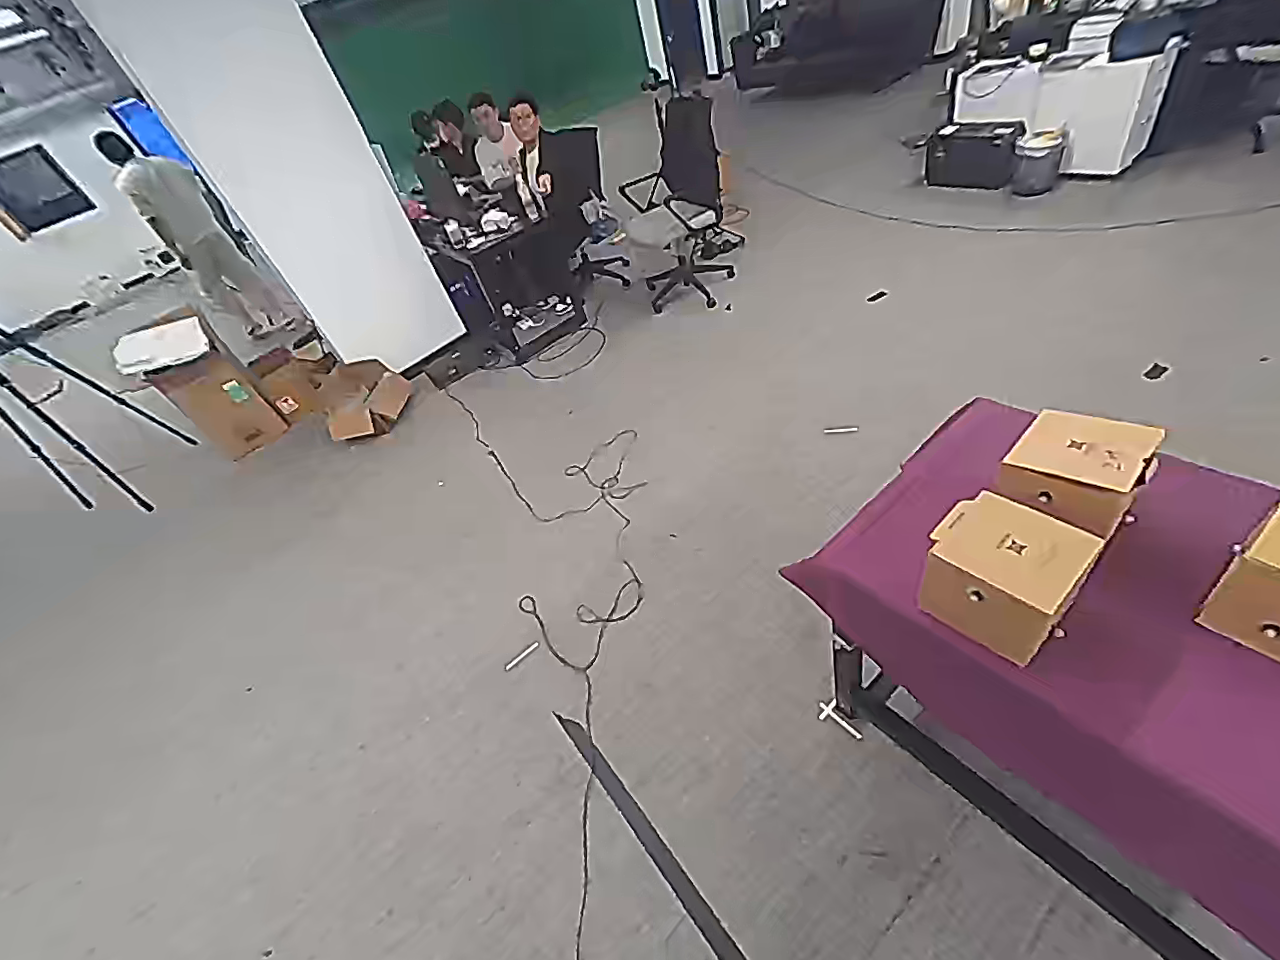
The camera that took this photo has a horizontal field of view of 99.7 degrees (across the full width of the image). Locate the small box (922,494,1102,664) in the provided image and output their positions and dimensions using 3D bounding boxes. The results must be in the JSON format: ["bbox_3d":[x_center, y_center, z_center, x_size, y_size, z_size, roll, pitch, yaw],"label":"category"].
[{"bbox_3d":[0.583,0.160,0.873,0.168,0.176,0.179,-39,46,-19],"label":"small box"}]

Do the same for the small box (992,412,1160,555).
[{"bbox_3d":[0.754,0.012,0.960,0.168,0.176,0.179,-41,46,-20],"label":"small box"}]
